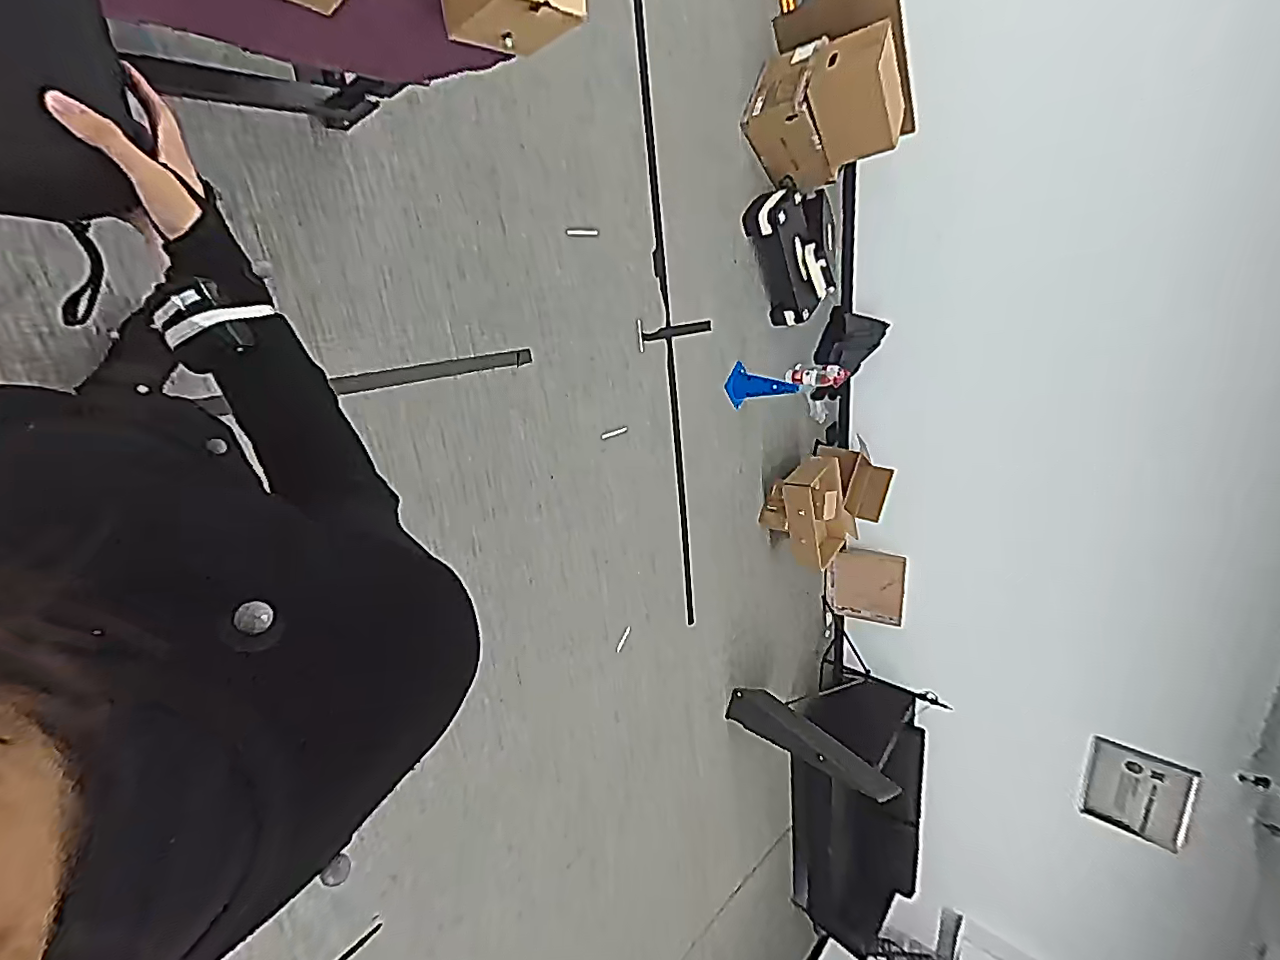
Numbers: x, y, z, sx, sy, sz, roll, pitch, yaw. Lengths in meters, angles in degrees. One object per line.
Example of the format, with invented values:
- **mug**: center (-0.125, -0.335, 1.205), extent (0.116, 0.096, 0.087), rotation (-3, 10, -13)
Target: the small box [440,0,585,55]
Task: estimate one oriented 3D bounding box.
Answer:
- **small box**: center (-0.213, -0.820, 0.852), extent (0.168, 0.176, 0.179), rotation (-24, 116, -41)
